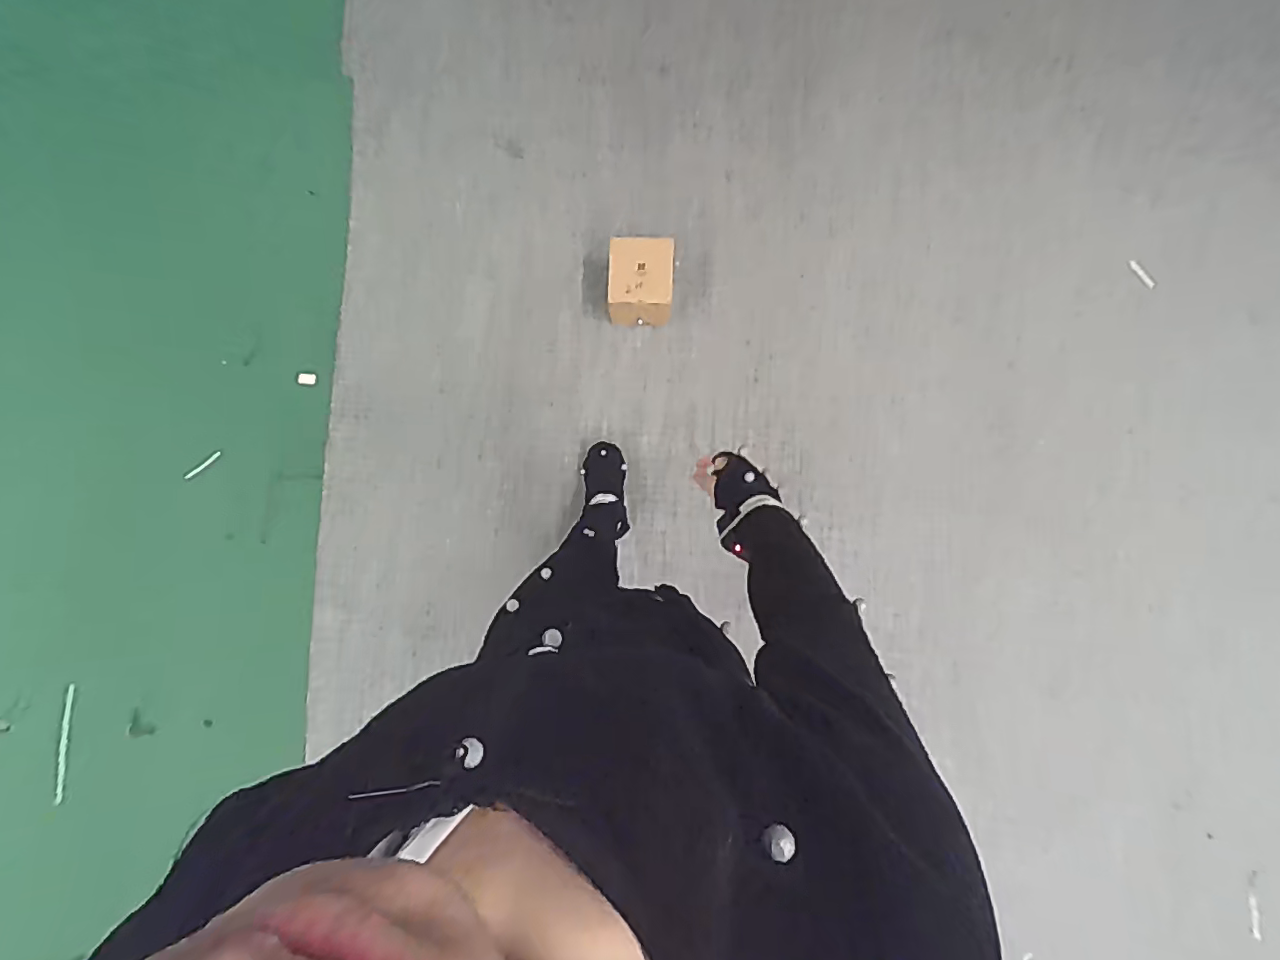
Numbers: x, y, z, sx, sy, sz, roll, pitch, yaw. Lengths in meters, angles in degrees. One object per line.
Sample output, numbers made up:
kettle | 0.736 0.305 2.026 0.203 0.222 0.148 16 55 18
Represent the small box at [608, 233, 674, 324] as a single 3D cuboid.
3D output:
small box | 0.003 -0.537 1.457 0.168 0.176 0.179 2 87 1
